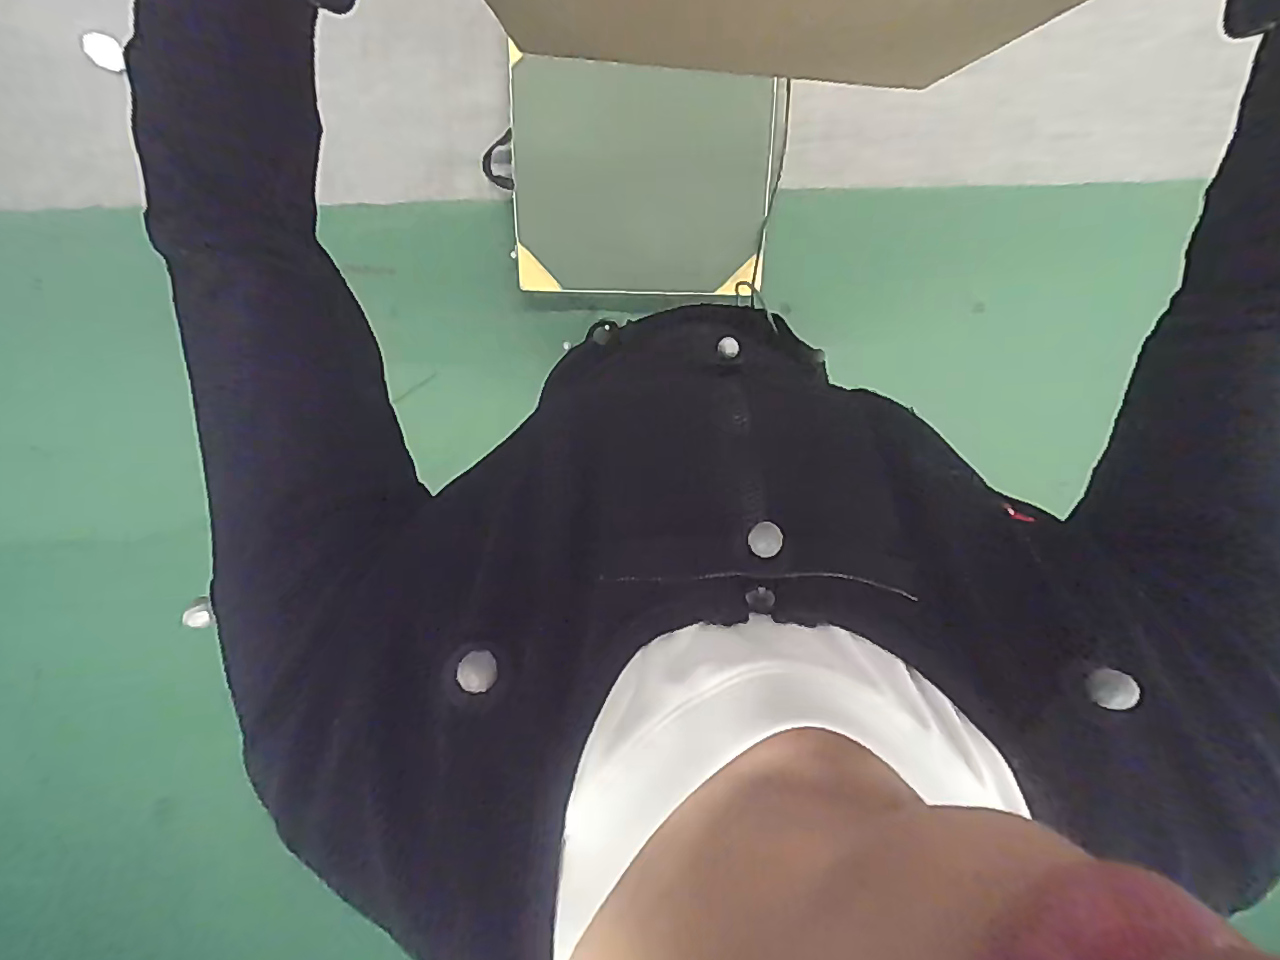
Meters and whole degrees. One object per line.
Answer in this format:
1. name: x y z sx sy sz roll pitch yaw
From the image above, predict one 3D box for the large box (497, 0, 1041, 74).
1. large box: 0.091 -0.485 0.330 0.408 0.320 0.320 3 114 -2
